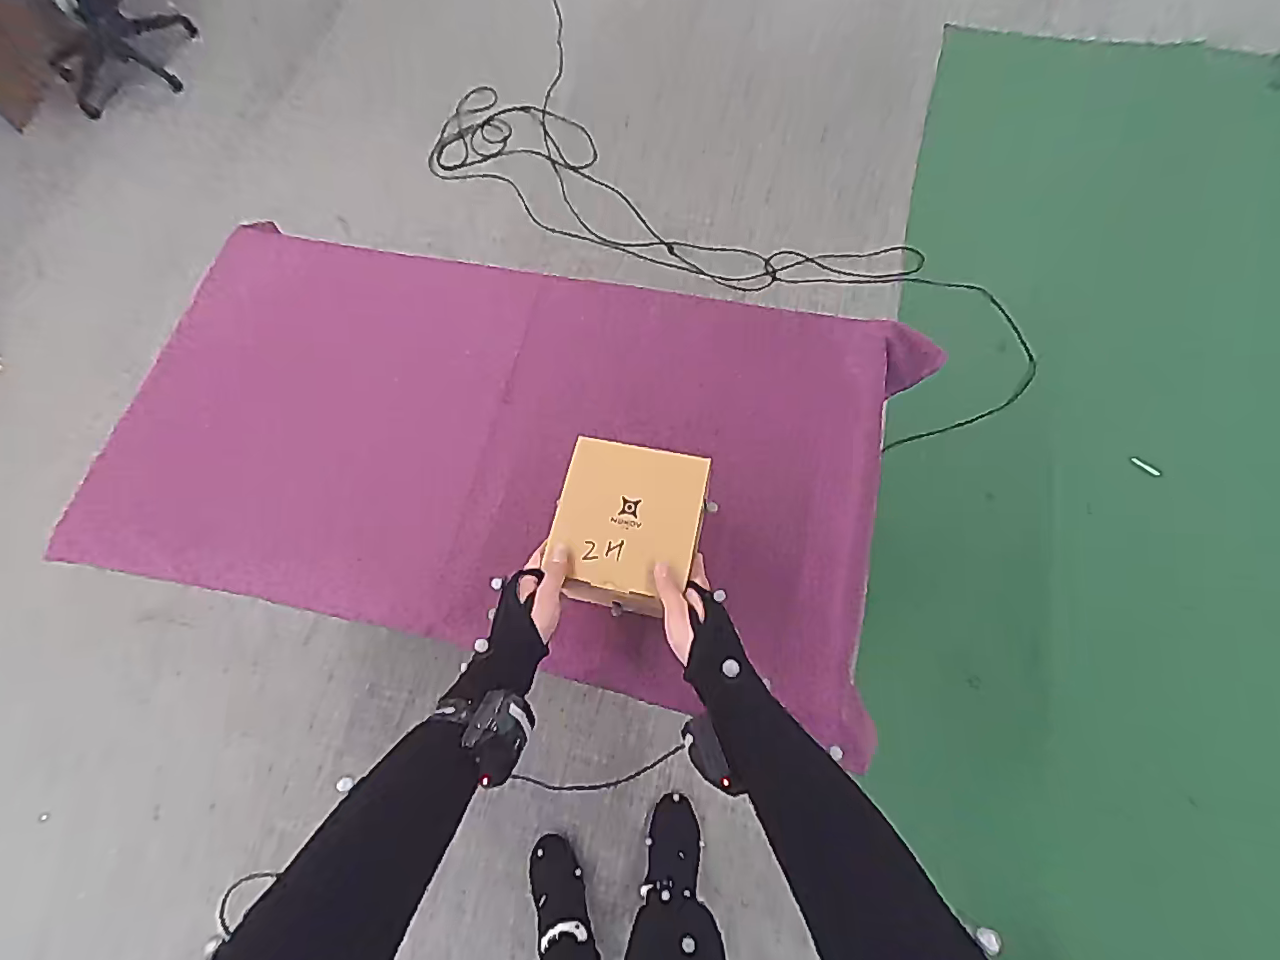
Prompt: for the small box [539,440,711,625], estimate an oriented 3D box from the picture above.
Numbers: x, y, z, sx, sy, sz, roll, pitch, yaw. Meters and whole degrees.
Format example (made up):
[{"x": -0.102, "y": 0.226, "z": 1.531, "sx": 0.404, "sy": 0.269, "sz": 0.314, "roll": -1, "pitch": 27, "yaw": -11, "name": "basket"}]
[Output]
[{"x": -0.010, "y": 0.075, "z": 0.695, "sx": 0.168, "sy": 0.176, "sz": 0.179, "roll": 11, "pitch": 70, "yaw": 9, "name": "small box"}]
